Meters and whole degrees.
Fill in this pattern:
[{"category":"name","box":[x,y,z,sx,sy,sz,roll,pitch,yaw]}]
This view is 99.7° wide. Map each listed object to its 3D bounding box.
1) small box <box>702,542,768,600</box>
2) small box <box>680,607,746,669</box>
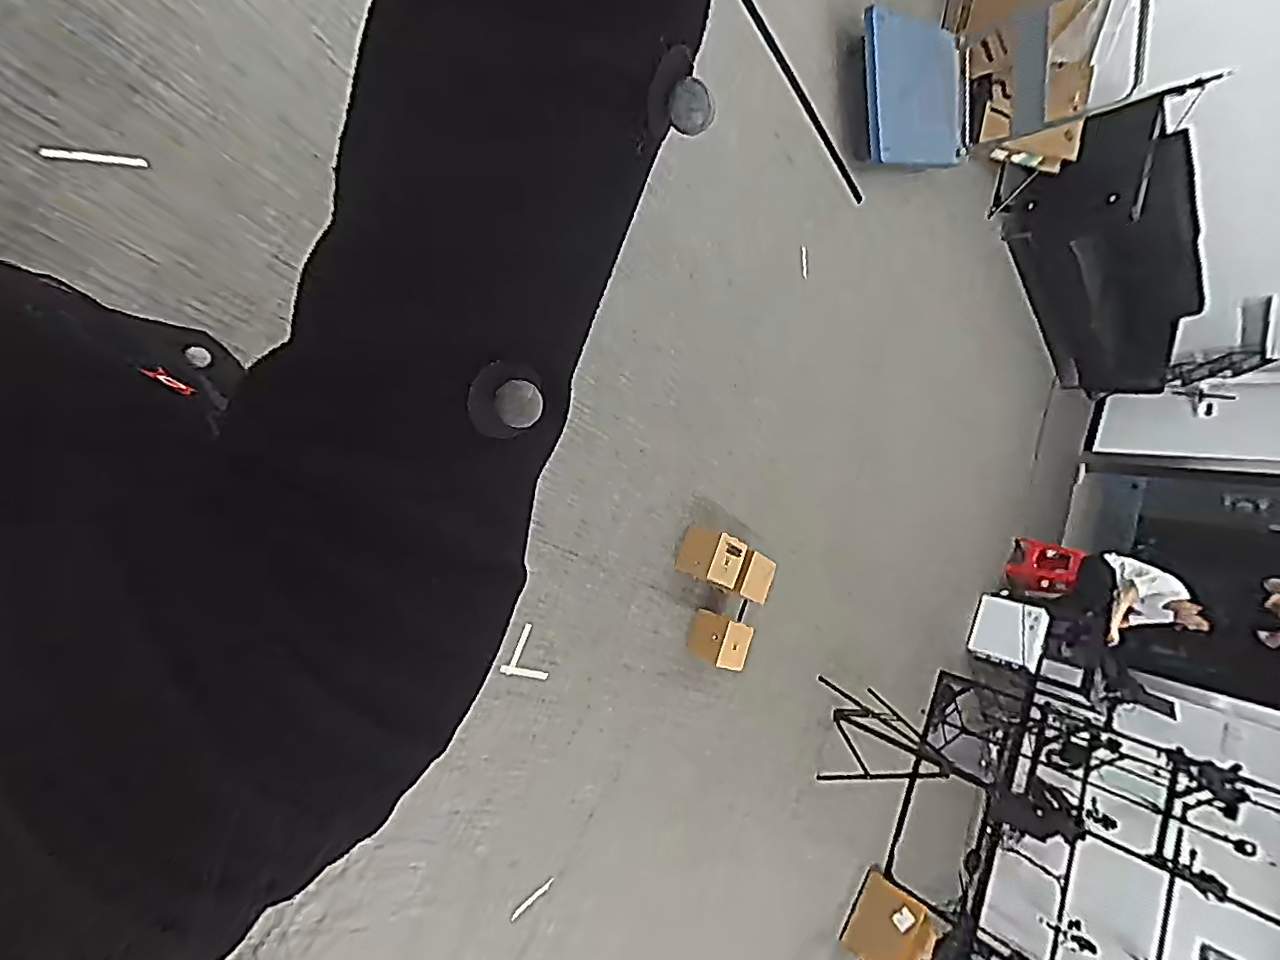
[{"category":"small box","box":[0.382,0.369,2.158,0.168,0.176,0.179,32,75,-39]},{"category":"small box","box":[0.281,0.616,2.113,0.168,0.176,0.179,26,79,-40]}]
